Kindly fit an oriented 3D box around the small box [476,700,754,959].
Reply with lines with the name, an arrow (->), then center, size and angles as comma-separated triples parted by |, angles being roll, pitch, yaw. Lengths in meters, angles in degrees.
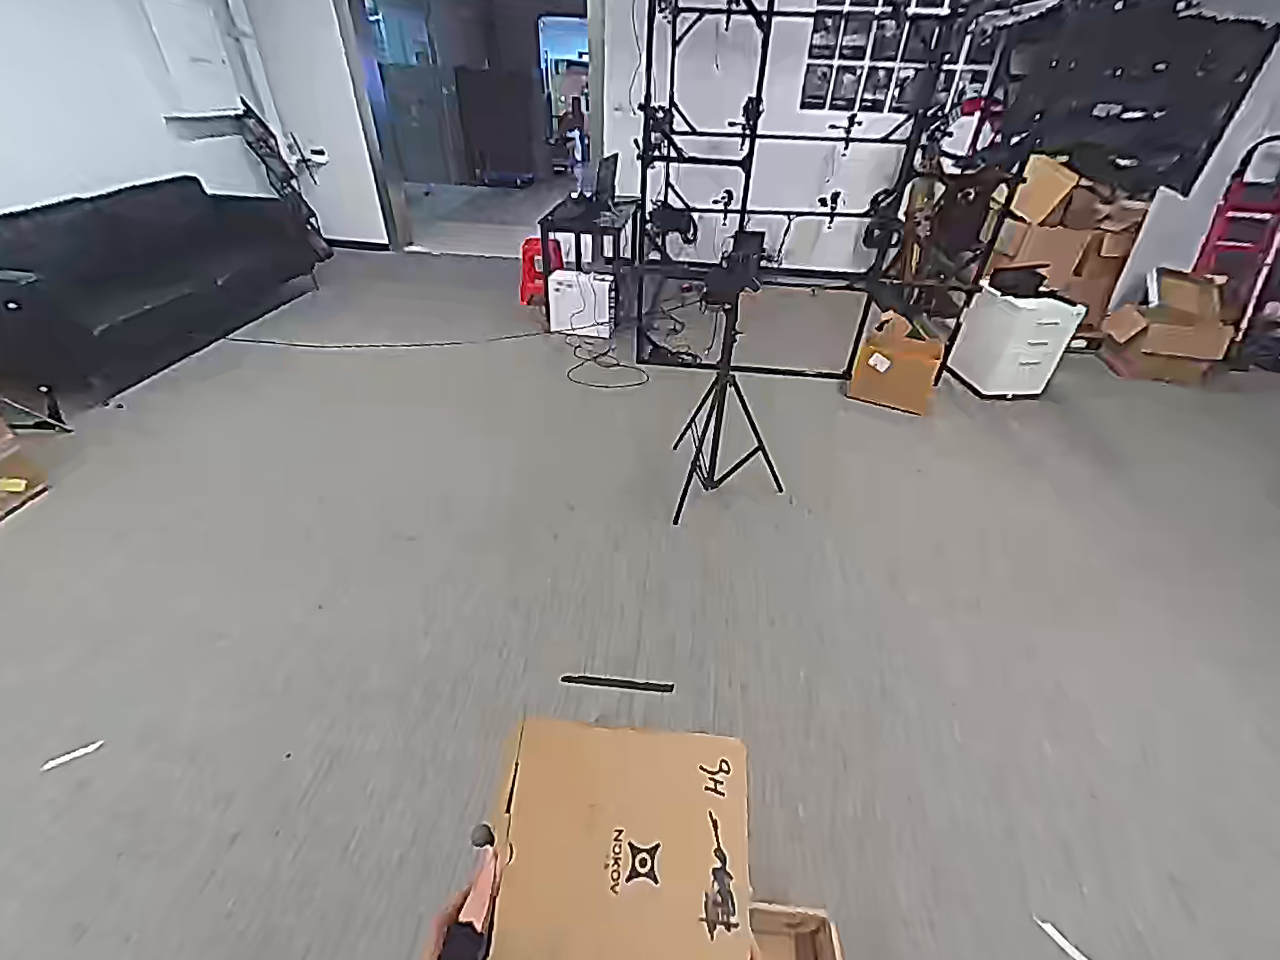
small box -> -0.026, 0.282, 0.430 | 0.179, 0.176, 0.168 | 12, 60, -11
